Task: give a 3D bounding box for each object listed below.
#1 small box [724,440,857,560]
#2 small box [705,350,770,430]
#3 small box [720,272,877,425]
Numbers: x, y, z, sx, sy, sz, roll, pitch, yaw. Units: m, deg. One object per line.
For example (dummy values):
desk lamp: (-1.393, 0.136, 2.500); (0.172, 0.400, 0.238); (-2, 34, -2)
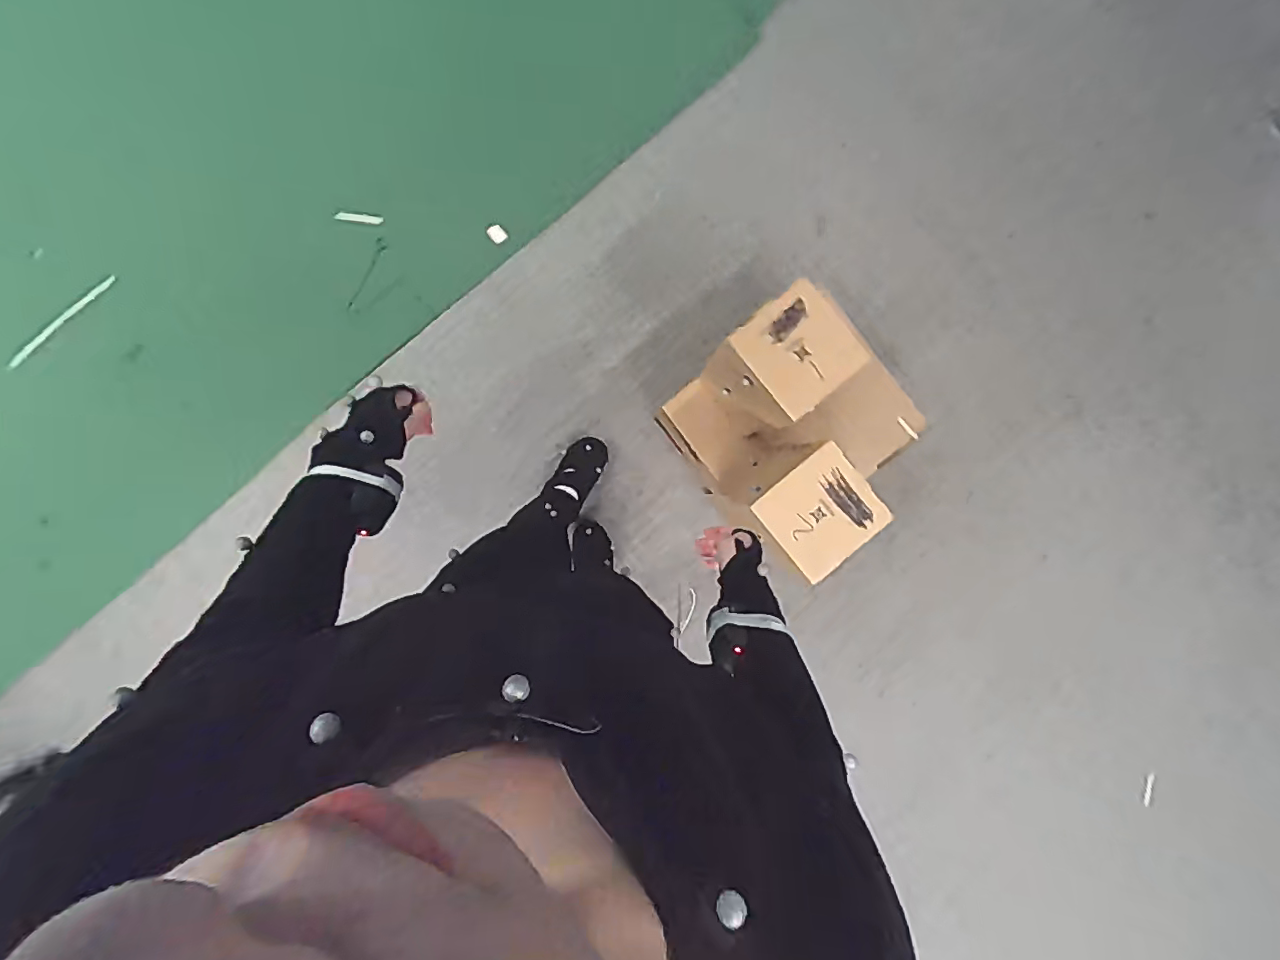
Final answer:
small box: (0.297, 0.035, 1.107); (0.168, 0.176, 0.179); (-40, 92, -2)
small box: (0.255, -0.222, 1.105); (0.179, 0.176, 0.168); (-39, 91, -2)
small box: (0.261, -0.215, 0.938); (0.168, 0.176, 0.179); (-39, 90, -1)
